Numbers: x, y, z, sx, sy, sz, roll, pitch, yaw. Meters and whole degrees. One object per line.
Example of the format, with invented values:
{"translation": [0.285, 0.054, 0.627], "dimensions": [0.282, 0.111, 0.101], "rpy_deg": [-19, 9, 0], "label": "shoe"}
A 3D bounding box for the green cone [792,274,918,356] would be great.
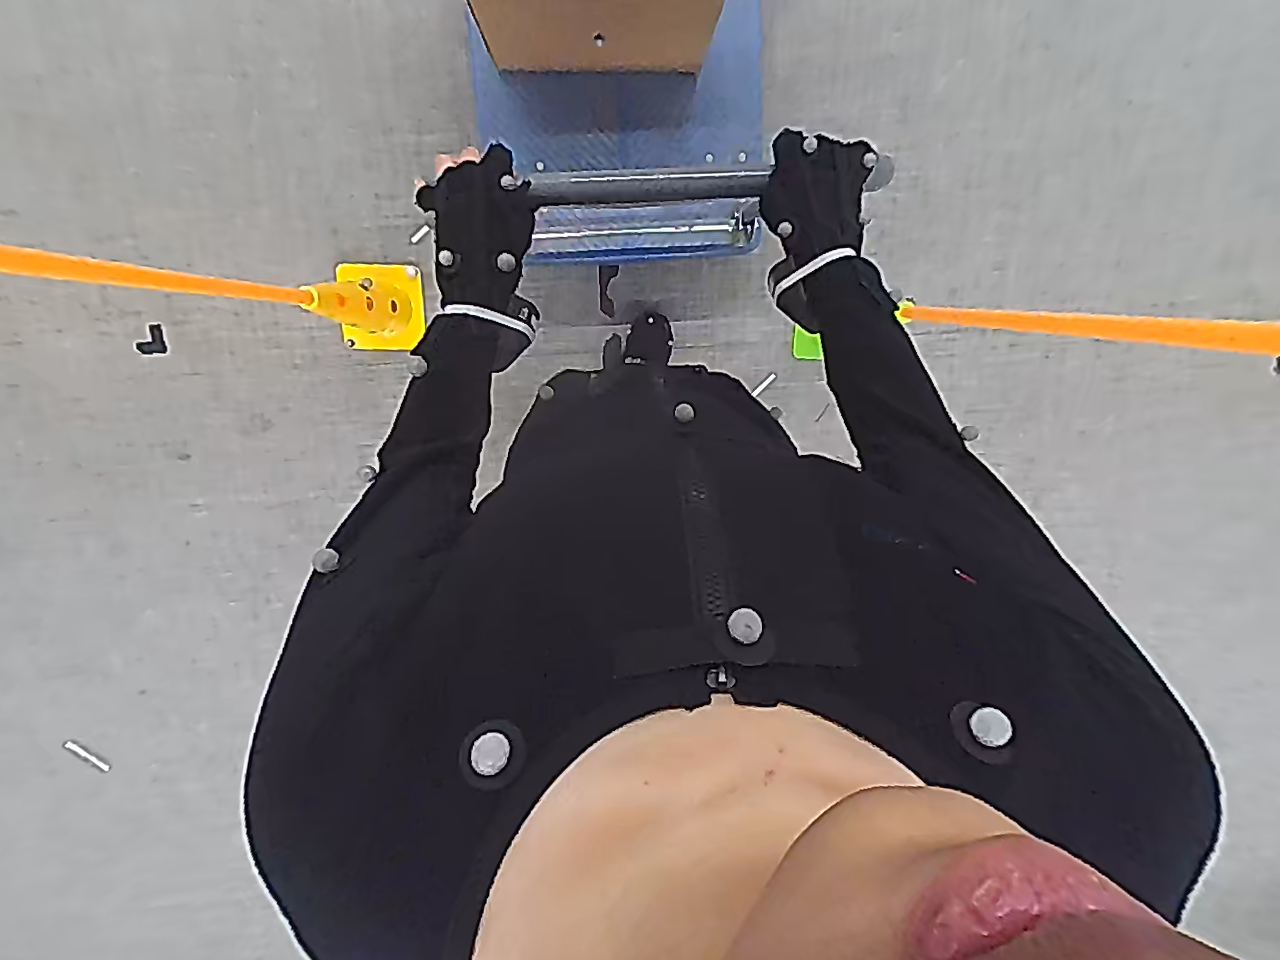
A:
{"translation": [0.508, -0.380, 1.231], "dimensions": [0.202, 0.368, 0.200], "rpy_deg": [0, 105, -5], "label": "green cone"}

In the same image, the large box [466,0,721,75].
{"translation": [-0.080, -0.921, 0.906], "dimensions": [0.408, 0.320, 0.320], "rpy_deg": [-2, 106, -2], "label": "large box"}
